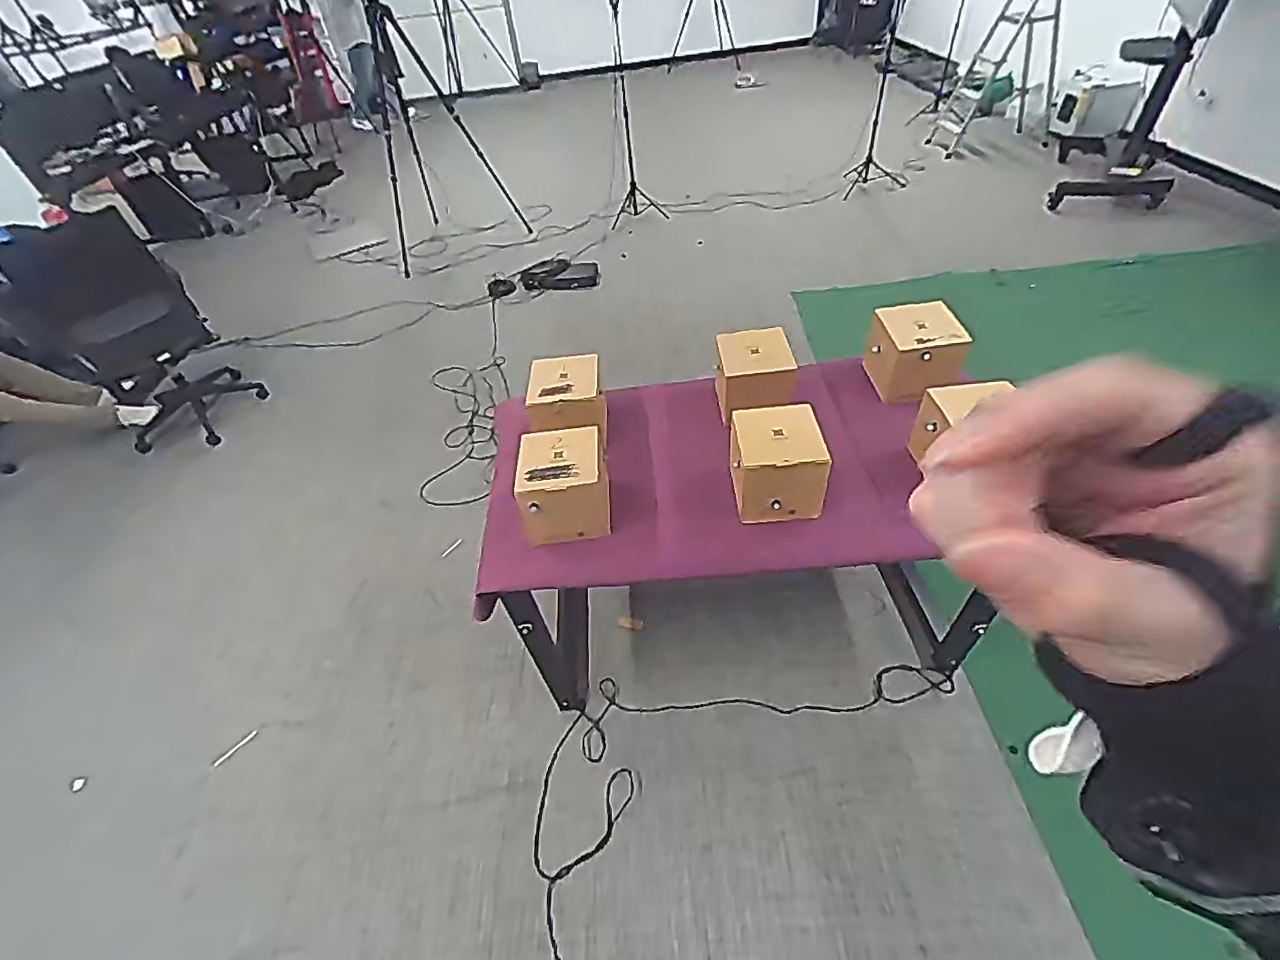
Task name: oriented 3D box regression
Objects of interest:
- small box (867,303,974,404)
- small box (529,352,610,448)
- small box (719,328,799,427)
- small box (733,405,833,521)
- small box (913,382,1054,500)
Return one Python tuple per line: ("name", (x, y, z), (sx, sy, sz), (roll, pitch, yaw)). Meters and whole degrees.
("small box", (0.681, -0.312, 1.337), (0.168, 0.176, 0.179), (-7, 48, 4))
("small box", (-0.167, -0.191, 1.341), (0.168, 0.176, 0.179), (-5, 47, 3))
("small box", (0.286, -0.254, 1.343), (0.168, 0.176, 0.179), (-5, 48, 4))
("small box", (0.289, -0.036, 1.136), (0.168, 0.176, 0.179), (-4, 46, 3))
("small box", (0.690, -0.079, 1.115), (0.168, 0.176, 0.179), (-5, 45, 5))
